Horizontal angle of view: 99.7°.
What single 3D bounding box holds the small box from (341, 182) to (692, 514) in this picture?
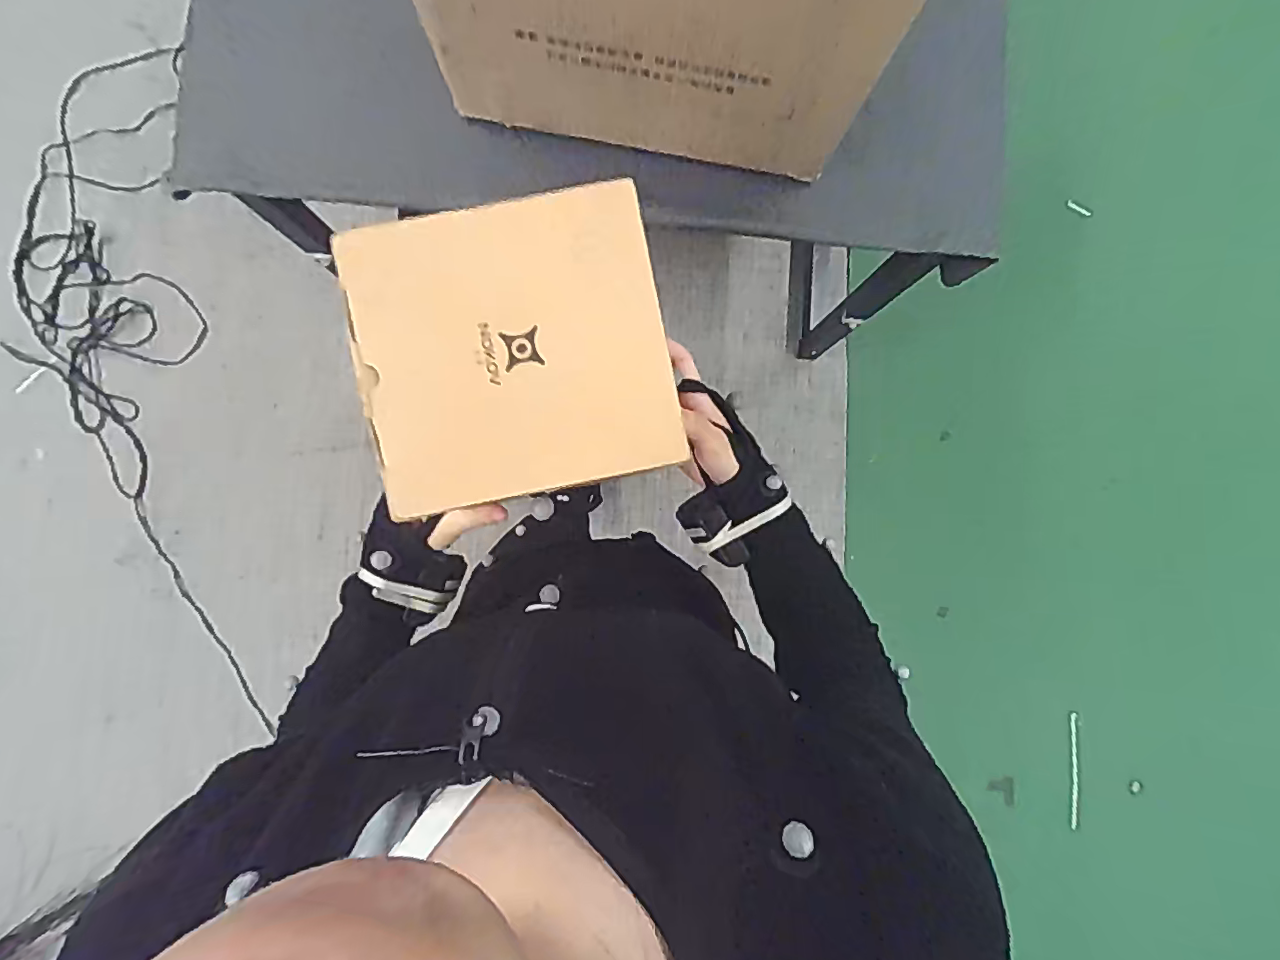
[{"bbox_3d":[-0.072,-0.078,0.389,0.179,0.176,0.168,-12,92,-1],"label":"small box"}]
